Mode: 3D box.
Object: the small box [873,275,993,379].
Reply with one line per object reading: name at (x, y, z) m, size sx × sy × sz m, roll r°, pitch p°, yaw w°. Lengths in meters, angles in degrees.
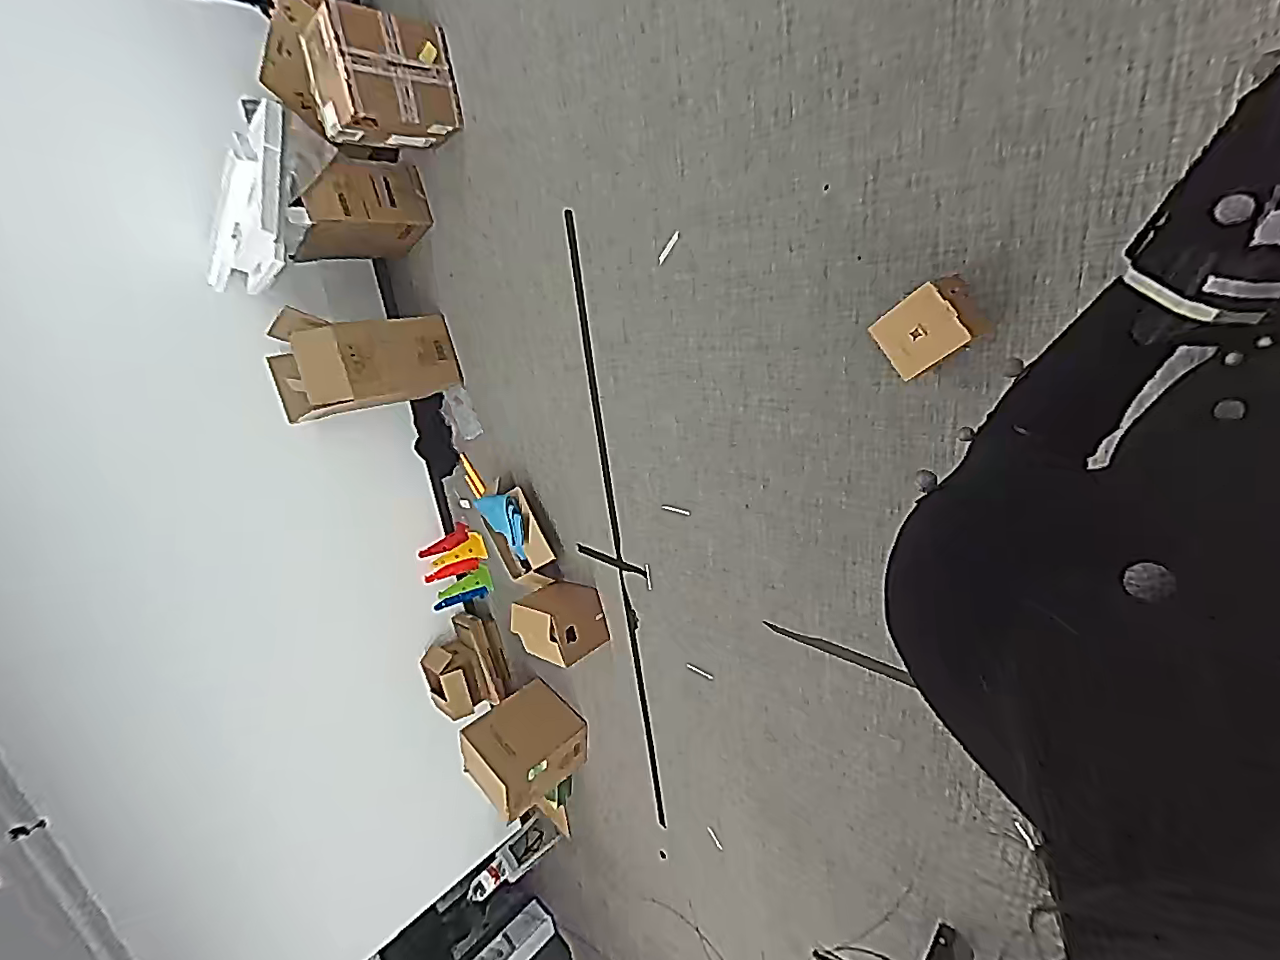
small box at (0.706, -0.369, 1.292) m, size 0.168 × 0.176 × 0.179 m, roll 60°, pitch 141°, yaw 10°
